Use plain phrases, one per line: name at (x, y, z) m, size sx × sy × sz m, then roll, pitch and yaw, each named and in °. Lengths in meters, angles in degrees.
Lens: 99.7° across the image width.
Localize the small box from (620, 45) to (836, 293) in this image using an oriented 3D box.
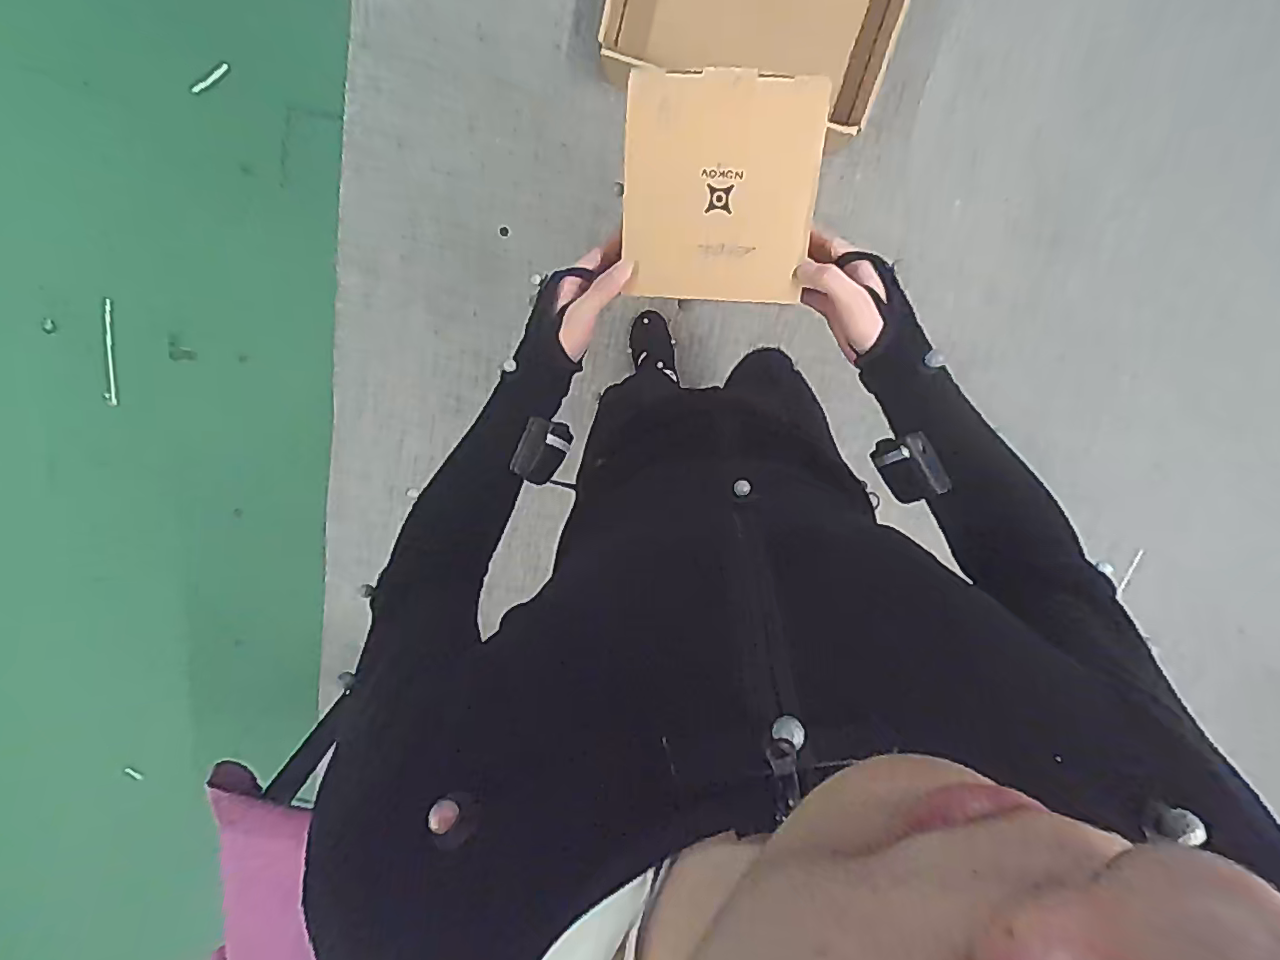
small box at (0.071, -0.281, 0.526) m, size 0.168 × 0.176 × 0.179 m, roll 4°, pitch 111°, yaw 1°
